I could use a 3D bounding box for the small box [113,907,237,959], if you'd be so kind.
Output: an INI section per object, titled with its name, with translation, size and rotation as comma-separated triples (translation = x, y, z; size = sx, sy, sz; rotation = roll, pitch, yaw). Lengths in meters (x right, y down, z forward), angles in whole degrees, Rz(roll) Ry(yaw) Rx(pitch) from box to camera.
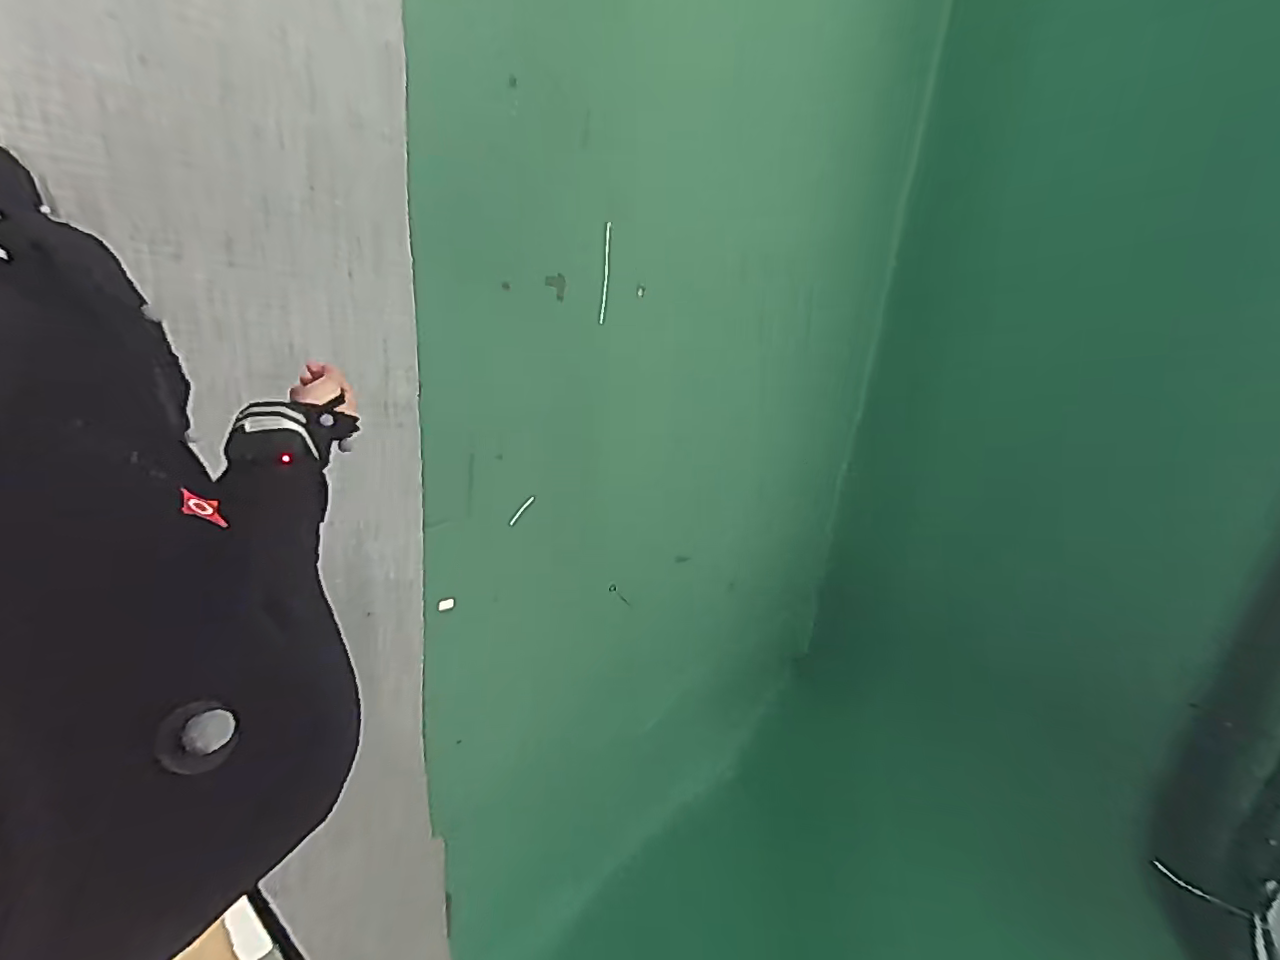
[small box]
translation = -0.622, 0.728, 0.708
size = 0.168, 0.176, 0.179
rotation = -19, 118, -43
